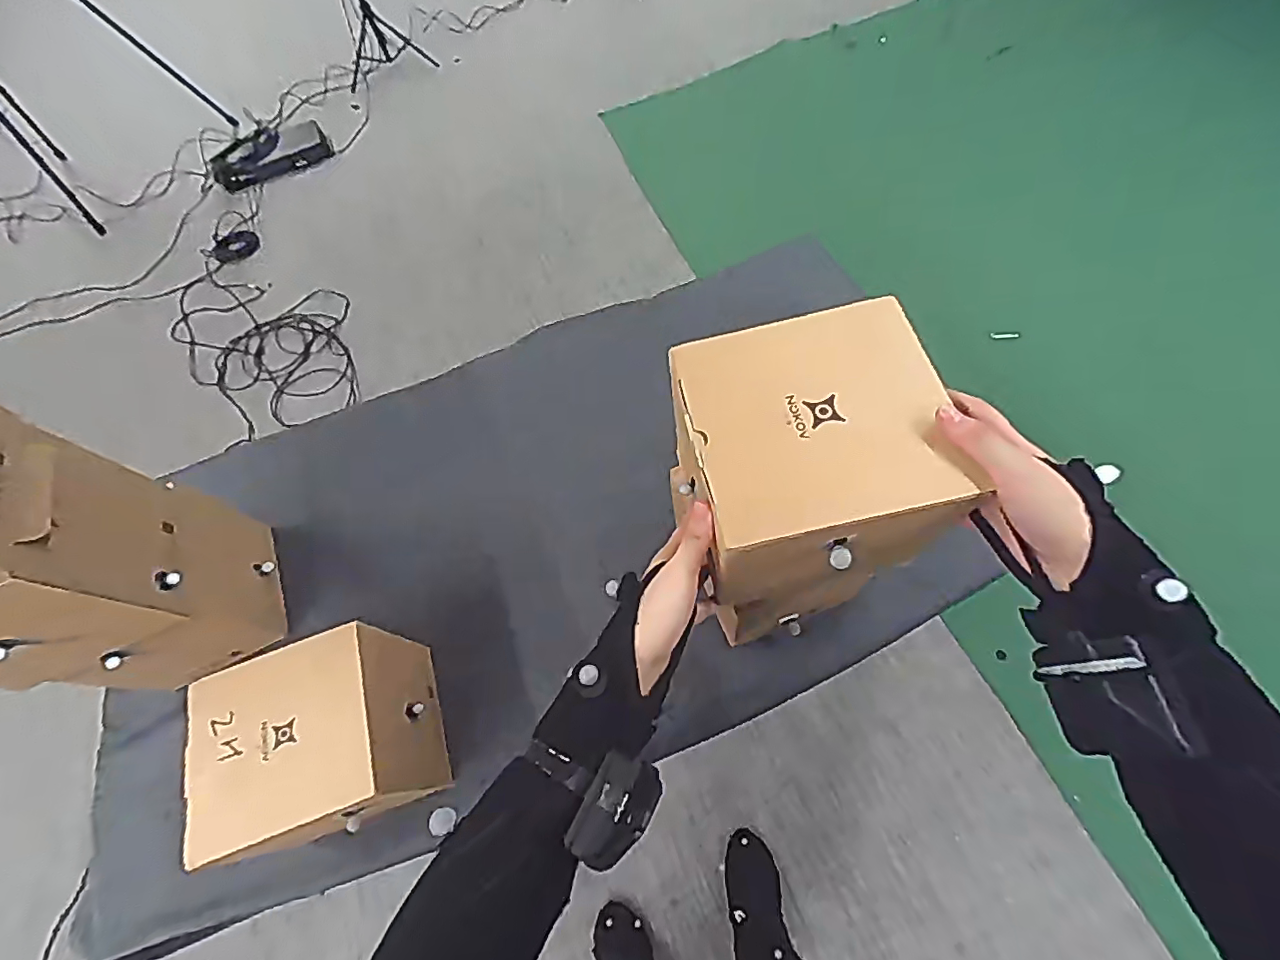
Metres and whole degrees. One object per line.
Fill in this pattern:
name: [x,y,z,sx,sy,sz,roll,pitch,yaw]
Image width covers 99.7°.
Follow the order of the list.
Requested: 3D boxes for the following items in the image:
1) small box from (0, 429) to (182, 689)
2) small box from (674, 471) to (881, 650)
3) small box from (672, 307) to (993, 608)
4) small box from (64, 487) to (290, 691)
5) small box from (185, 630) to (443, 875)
small box: [-0.591,0.085,0.525,0.179,0.176,0.168,-25,65,-5]
small box: [0.148,0.073,0.619,0.168,0.176,0.179,-22,62,-3]
small box: [0.131,-0.006,0.442,0.179,0.176,0.168,-14,64,2]
small box: [-0.581,0.144,0.679,0.168,0.176,0.179,-26,64,-6]
small box: [-0.329,0.280,0.578,0.179,0.176,0.168,-20,63,-3]
